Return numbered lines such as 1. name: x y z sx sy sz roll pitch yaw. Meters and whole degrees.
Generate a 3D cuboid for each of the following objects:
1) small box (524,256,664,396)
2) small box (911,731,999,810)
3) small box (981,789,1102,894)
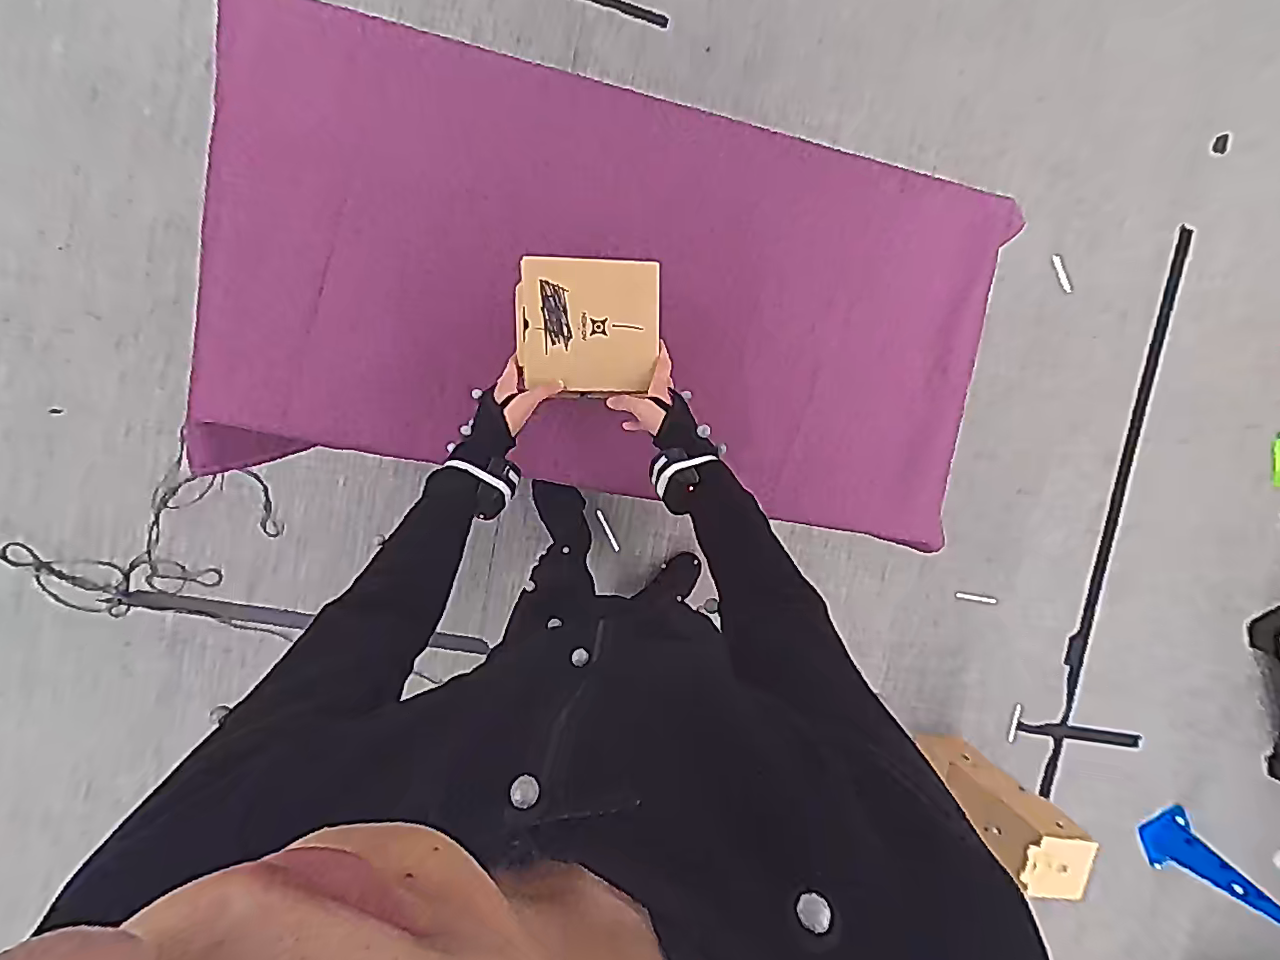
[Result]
1. small box: -0.065 -0.204 0.760 0.179 0.176 0.168 -1 97 -7
2. small box: 1.029 0.952 1.781 0.179 0.176 0.168 7 95 -9
3. small box: 1.070 0.963 1.453 0.179 0.176 0.168 12 95 -9
